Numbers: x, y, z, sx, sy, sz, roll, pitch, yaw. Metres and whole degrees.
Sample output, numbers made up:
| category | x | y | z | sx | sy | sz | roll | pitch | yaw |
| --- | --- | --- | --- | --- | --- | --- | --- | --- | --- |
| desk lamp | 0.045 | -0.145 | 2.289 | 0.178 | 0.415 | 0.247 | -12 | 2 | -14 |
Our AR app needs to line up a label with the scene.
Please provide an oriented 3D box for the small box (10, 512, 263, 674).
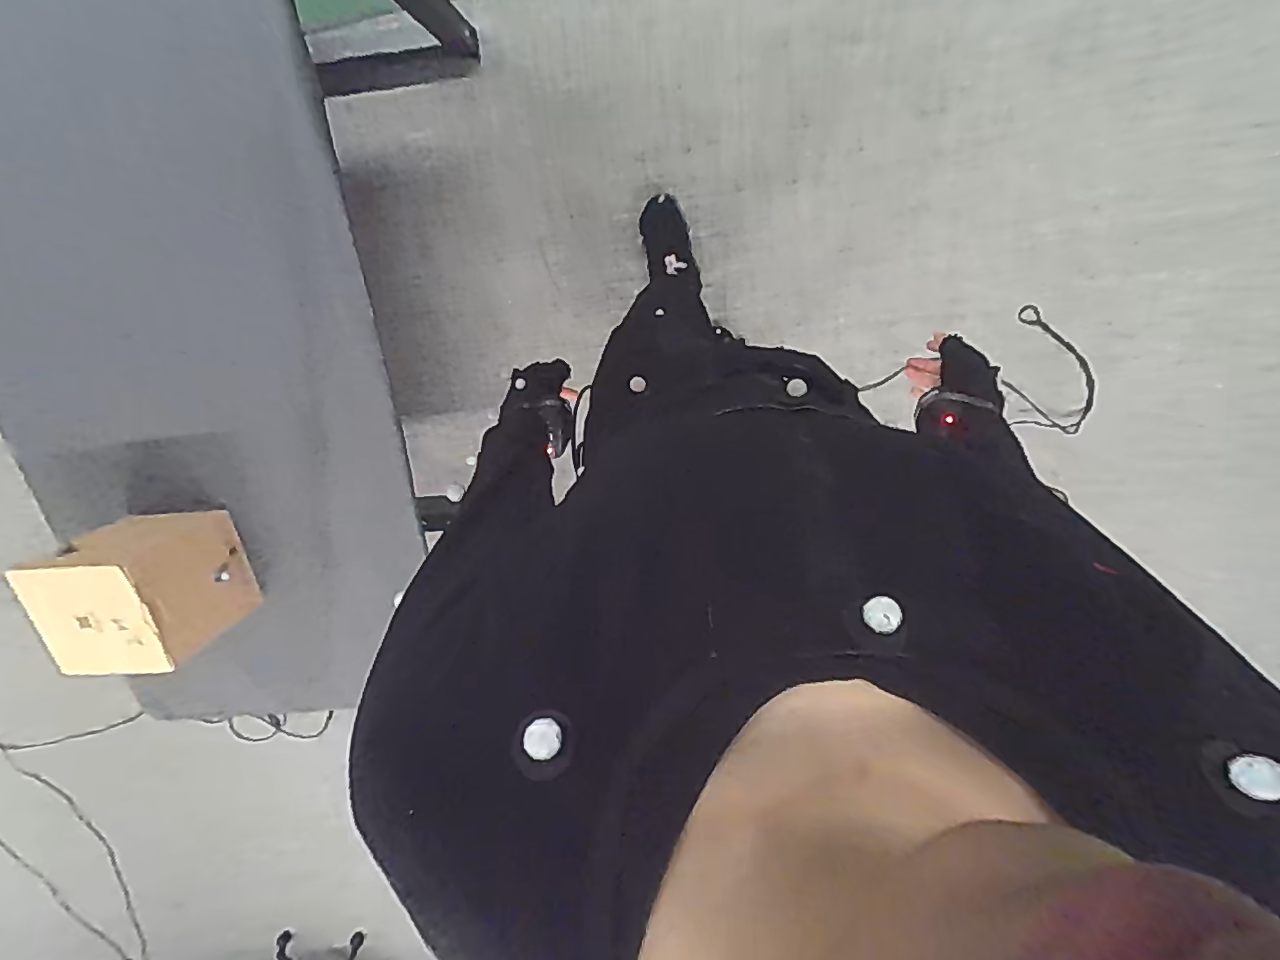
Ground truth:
| category | x | y | z | sx | sy | sz | roll | pitch | yaw |
| --- | --- | --- | --- | --- | --- | --- | --- | --- | --- |
| small box | -0.701 | 0.155 | 0.776 | 0.179 | 0.176 | 0.168 | -4 | 110 | 6 |
